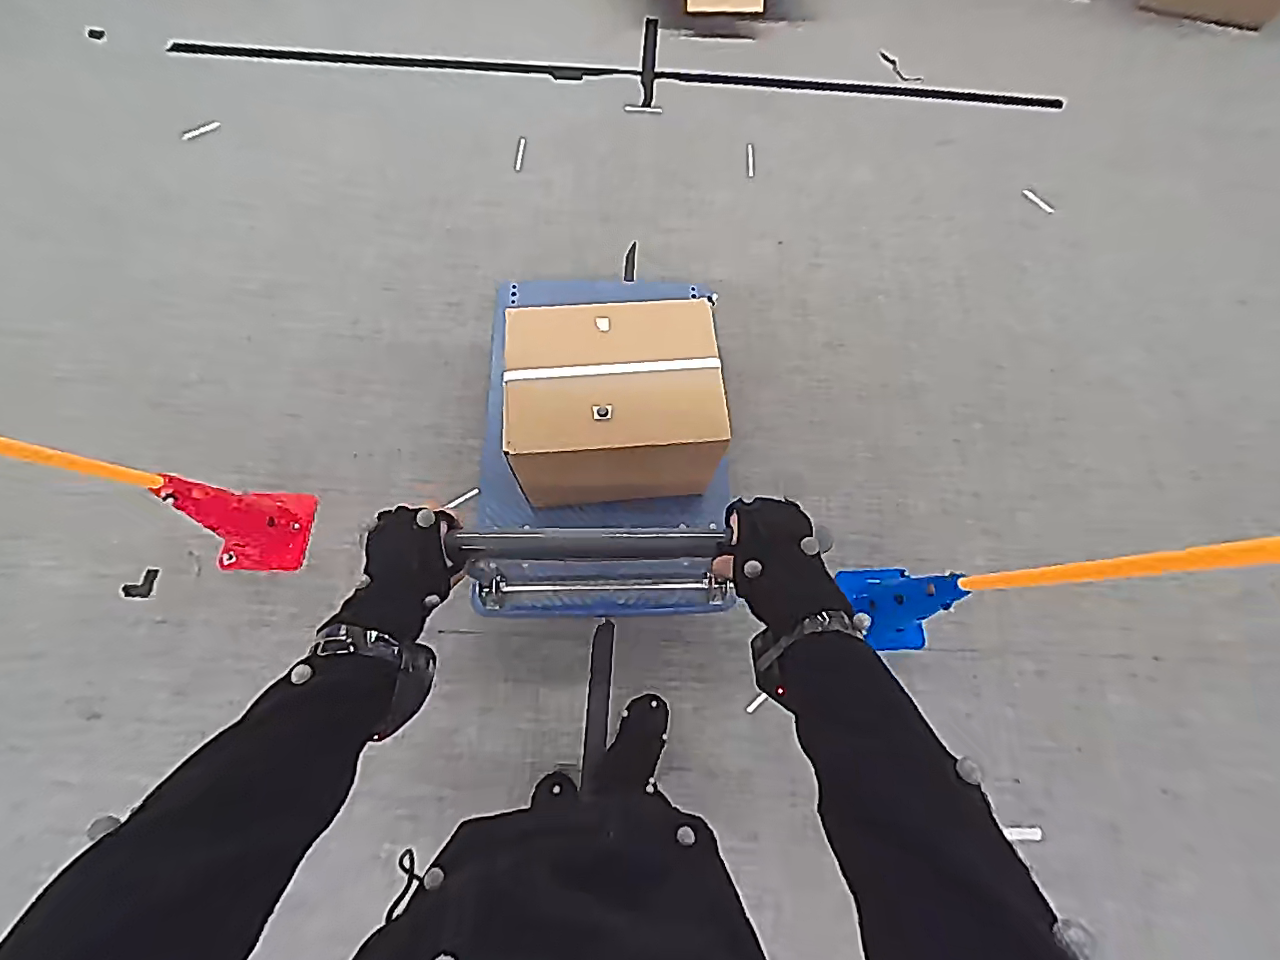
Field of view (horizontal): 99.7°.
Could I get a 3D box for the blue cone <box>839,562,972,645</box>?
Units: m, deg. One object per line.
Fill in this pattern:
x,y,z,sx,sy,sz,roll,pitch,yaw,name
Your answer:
0.612,0.252,1.201,0.193,0.380,0.192,0,68,-3,blue cone
